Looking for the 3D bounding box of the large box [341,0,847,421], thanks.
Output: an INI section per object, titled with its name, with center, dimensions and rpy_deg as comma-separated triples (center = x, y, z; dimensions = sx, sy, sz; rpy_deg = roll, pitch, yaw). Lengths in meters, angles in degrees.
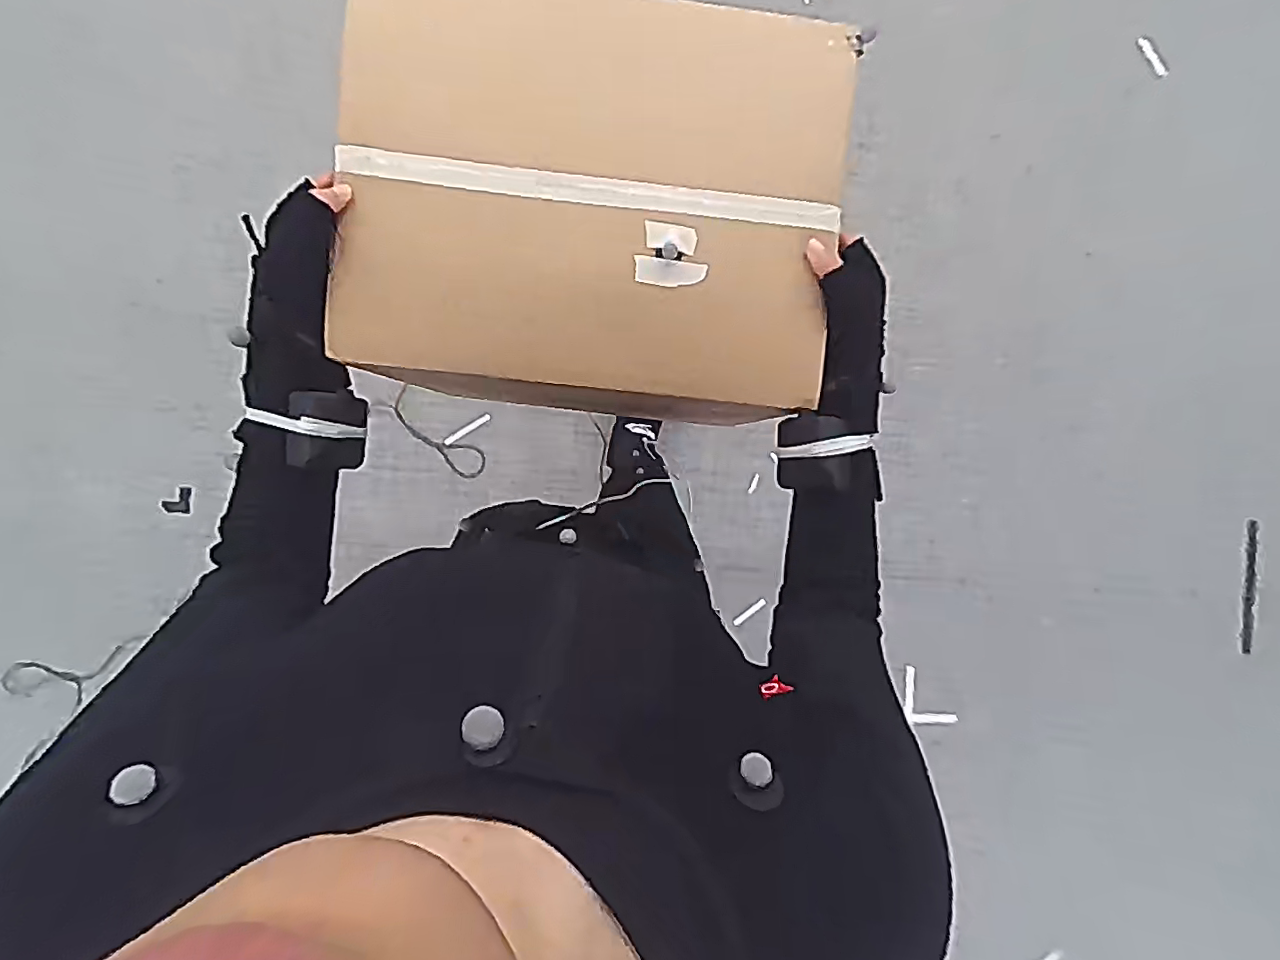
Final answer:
[large box]
center = -0.046, -0.241, 0.594
dimensions = 0.408, 0.320, 0.320
rpy_deg = 6, 94, -4
